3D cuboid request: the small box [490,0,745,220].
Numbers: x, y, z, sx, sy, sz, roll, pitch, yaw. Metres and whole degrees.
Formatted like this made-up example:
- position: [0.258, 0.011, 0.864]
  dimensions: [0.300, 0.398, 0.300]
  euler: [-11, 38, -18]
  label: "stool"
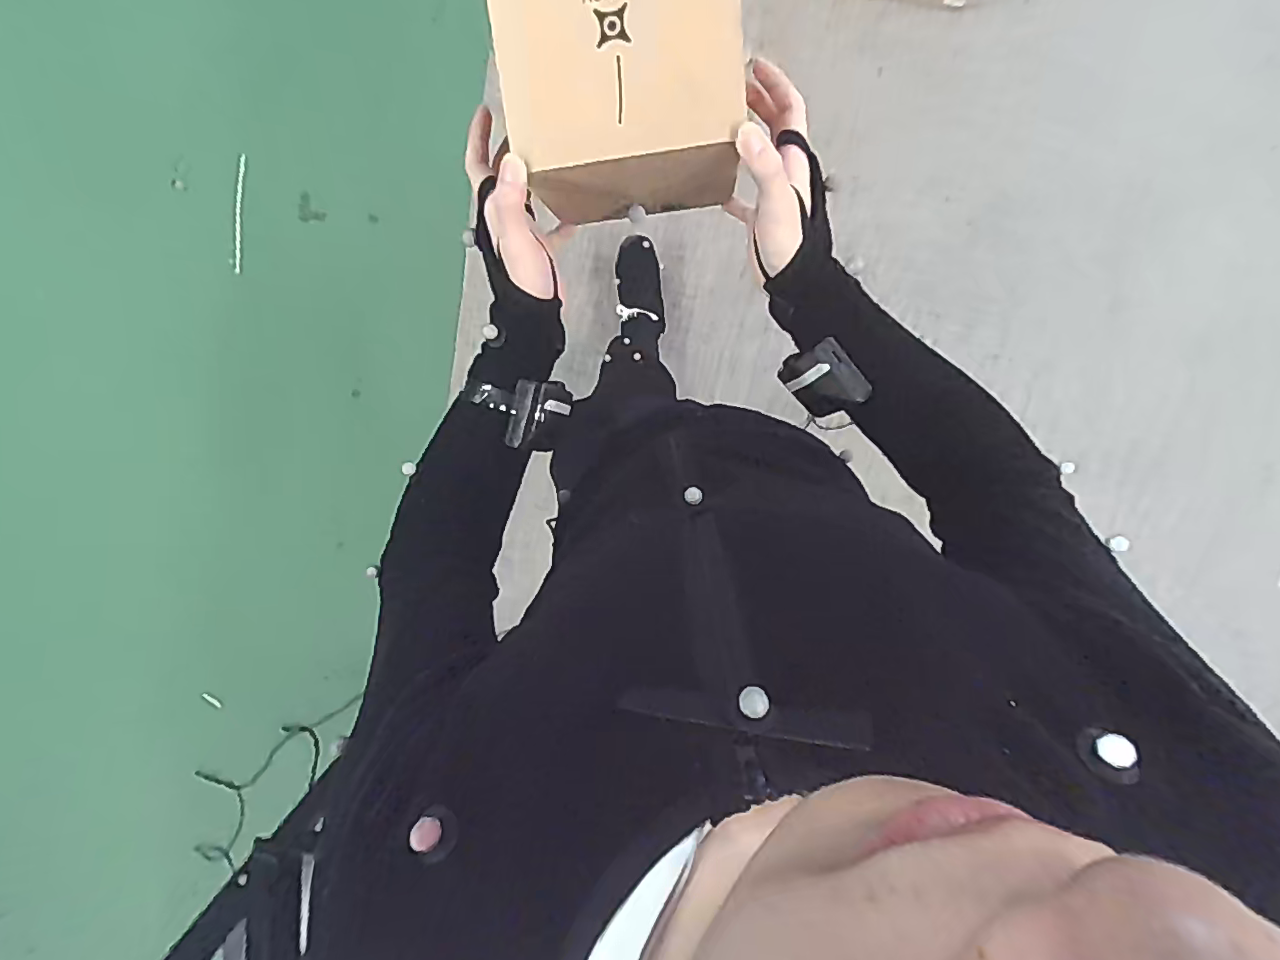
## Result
- position: [-0.011, -0.326, 0.427]
  dimensions: [0.168, 0.176, 0.179]
  euler: [-4, 103, 6]
  label: "small box"
